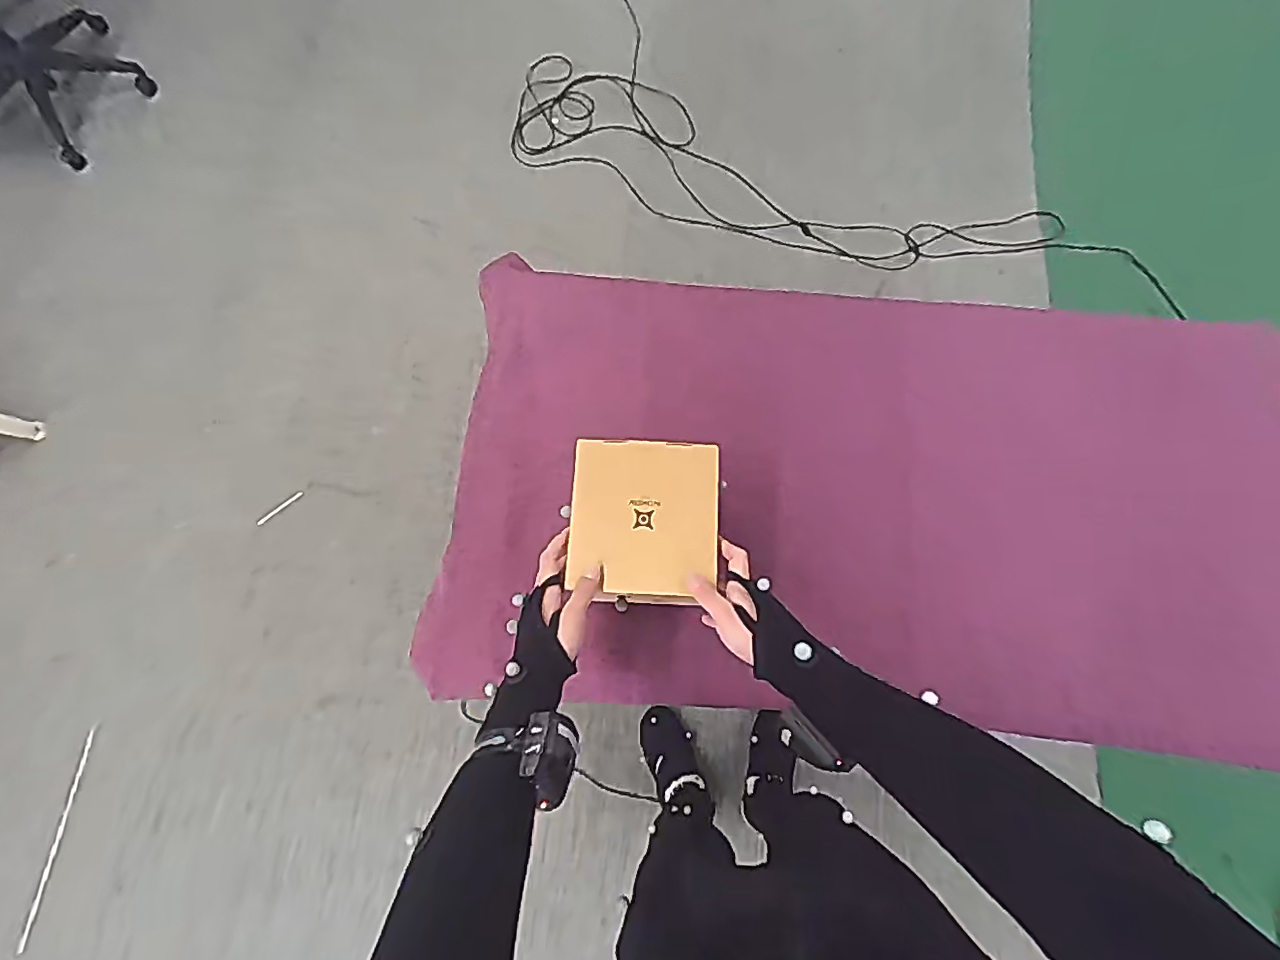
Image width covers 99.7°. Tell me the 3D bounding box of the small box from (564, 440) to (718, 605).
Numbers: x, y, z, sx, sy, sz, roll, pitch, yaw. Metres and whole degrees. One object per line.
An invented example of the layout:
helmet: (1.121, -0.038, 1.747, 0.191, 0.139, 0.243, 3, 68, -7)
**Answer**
small box: (0.006, 0.062, 0.677, 0.168, 0.176, 0.179, 2, 74, 2)
